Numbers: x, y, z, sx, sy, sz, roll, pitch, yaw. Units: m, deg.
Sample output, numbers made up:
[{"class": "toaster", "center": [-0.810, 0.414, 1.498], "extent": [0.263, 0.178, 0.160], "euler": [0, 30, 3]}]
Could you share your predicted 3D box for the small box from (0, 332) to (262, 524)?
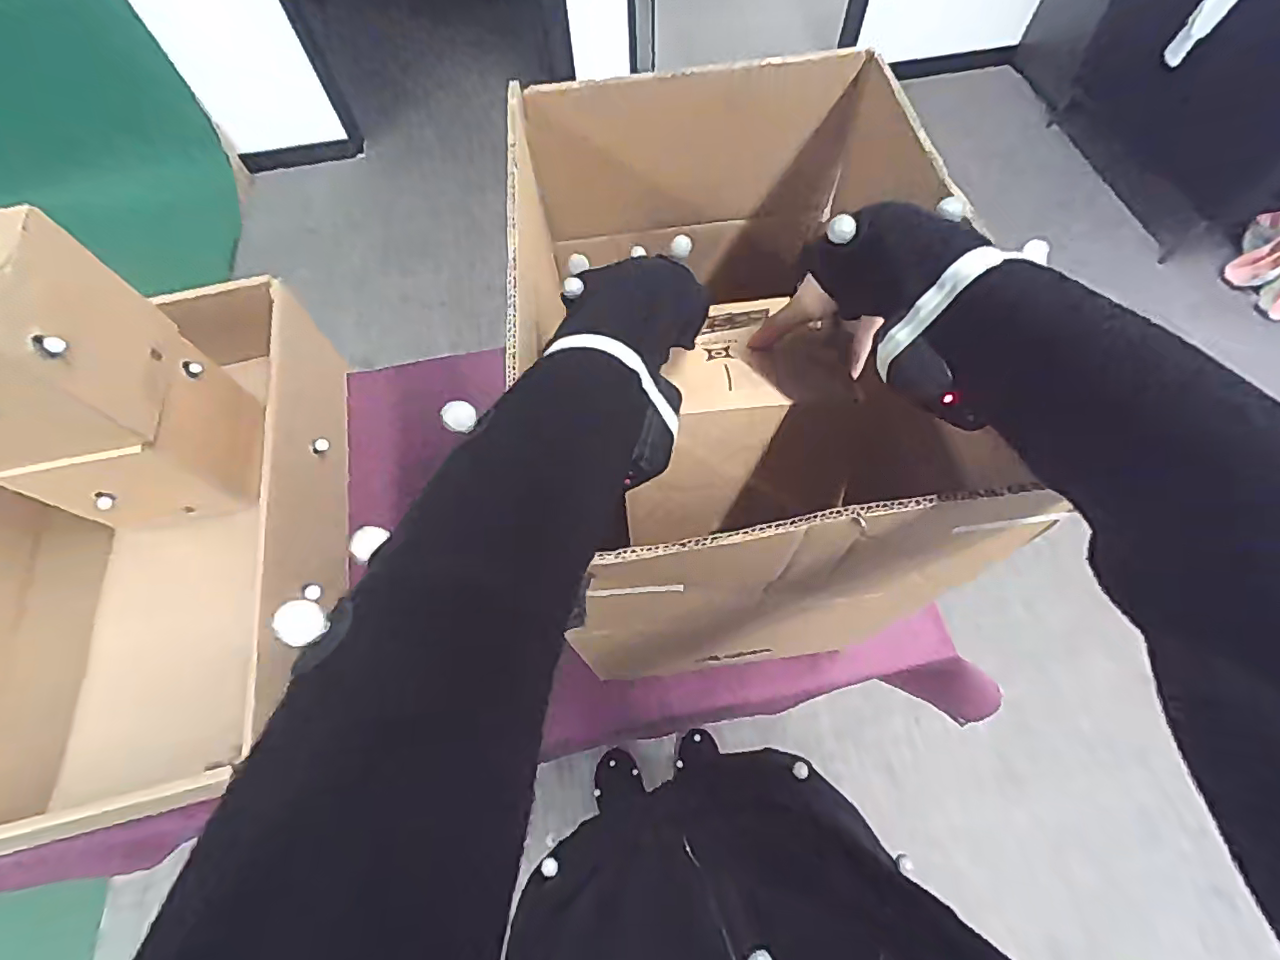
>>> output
[{"class": "small box", "center": [-0.621, -0.054, 0.686], "extent": [0.168, 0.176, 0.179], "euler": [-11, 64, -2]}]
